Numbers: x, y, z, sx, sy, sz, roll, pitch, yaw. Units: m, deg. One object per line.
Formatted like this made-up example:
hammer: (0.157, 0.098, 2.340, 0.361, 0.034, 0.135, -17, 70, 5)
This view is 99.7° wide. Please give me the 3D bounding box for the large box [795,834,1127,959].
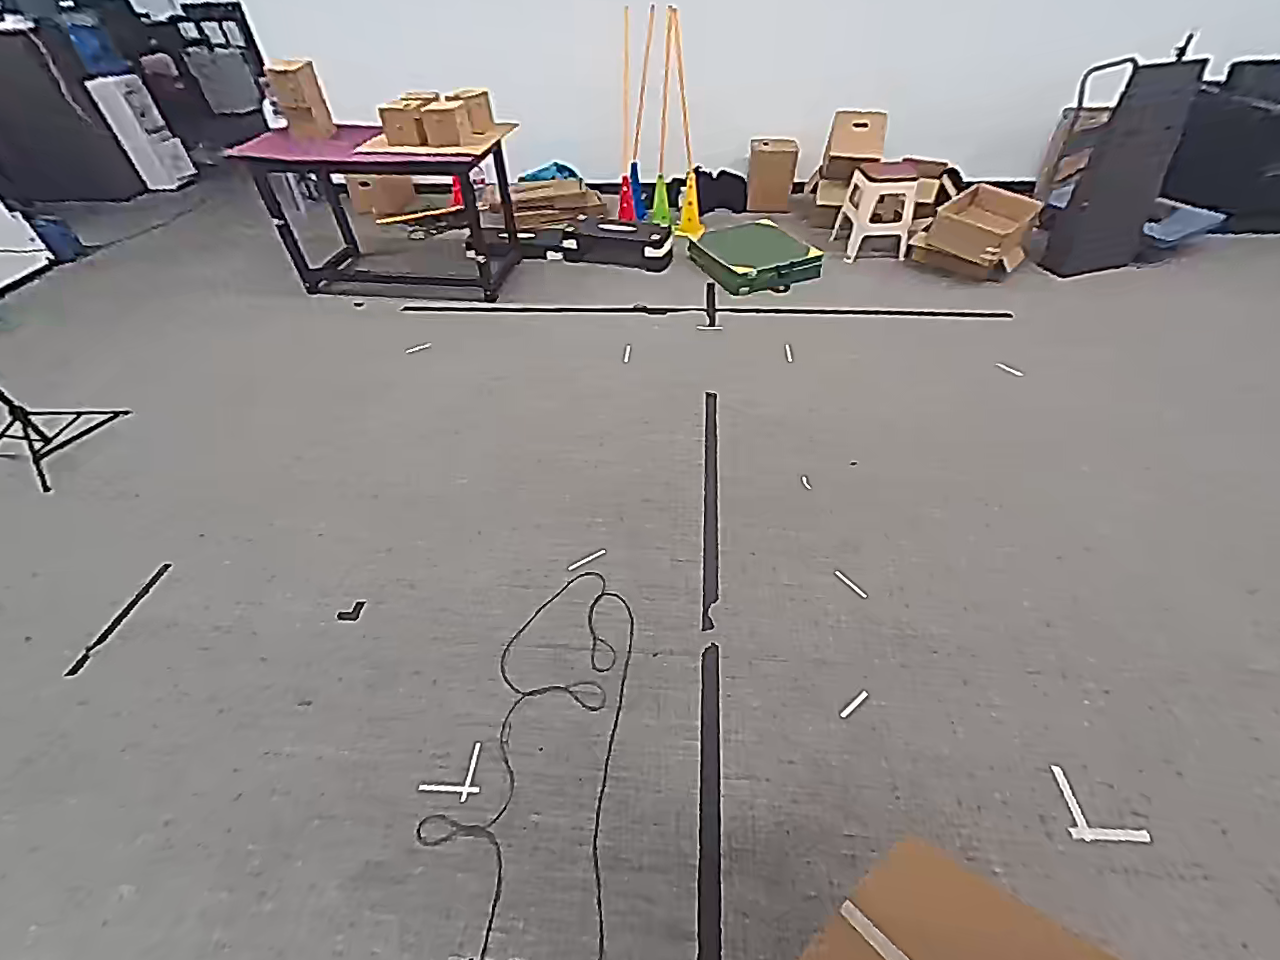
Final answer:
large box: (0.446, 0.733, 0.643, 0.320, 0.408, 0.320, -37, 84, -15)
